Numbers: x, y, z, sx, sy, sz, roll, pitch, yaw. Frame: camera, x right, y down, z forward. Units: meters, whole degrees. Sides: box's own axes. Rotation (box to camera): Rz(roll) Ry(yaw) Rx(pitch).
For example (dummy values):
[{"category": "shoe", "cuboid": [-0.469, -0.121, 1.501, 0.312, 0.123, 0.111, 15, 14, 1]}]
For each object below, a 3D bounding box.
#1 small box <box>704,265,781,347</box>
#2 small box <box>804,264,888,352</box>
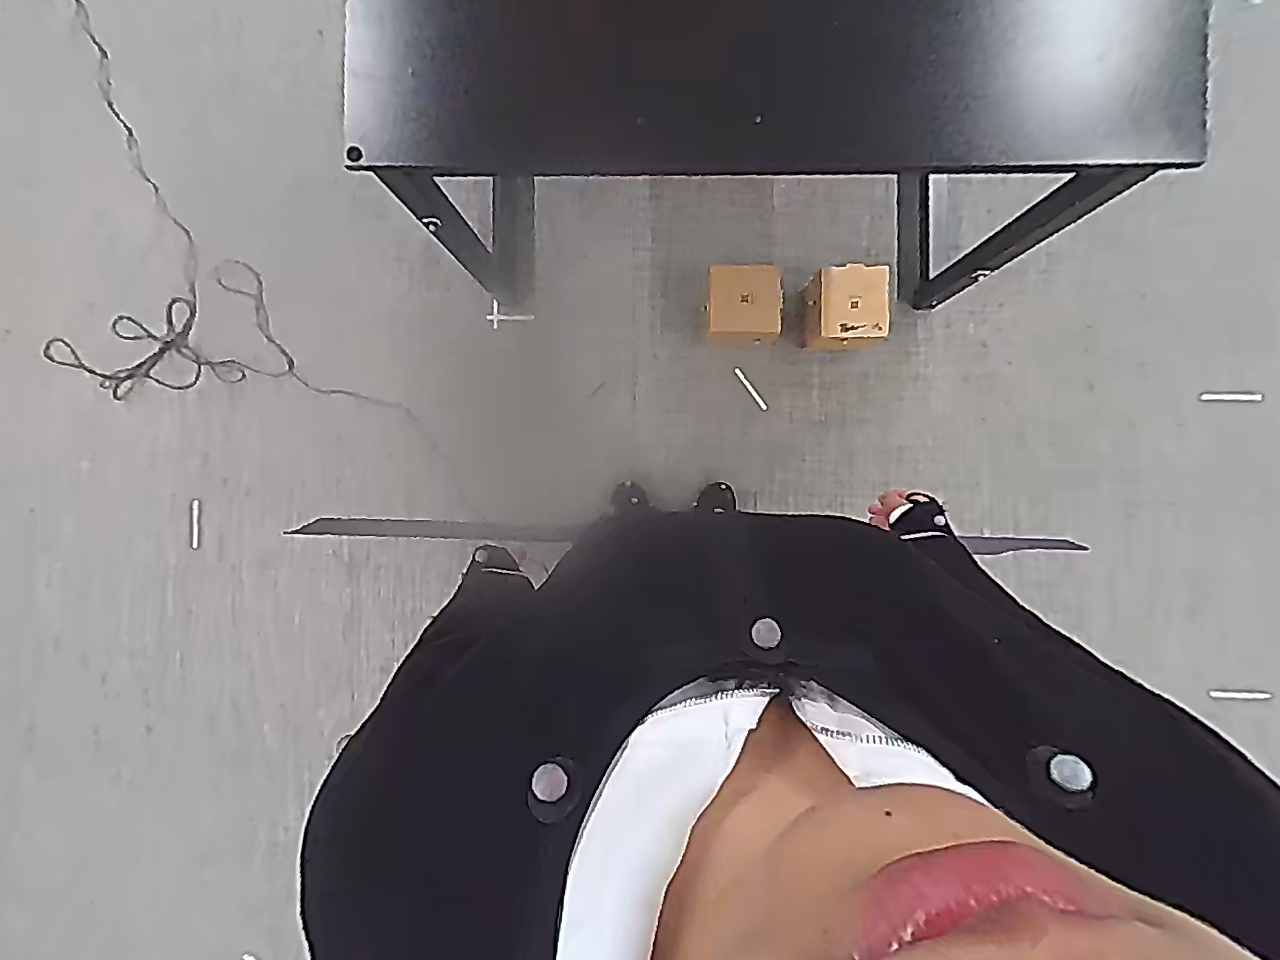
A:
[{"category": "small box", "cuboid": [0.263, -0.448, 1.410, 0.179, 0.176, 0.168, 0, 90, 3]}, {"category": "small box", "cuboid": [0.526, -0.439, 1.398, 0.168, 0.176, 0.179, 0, 90, 3]}]
